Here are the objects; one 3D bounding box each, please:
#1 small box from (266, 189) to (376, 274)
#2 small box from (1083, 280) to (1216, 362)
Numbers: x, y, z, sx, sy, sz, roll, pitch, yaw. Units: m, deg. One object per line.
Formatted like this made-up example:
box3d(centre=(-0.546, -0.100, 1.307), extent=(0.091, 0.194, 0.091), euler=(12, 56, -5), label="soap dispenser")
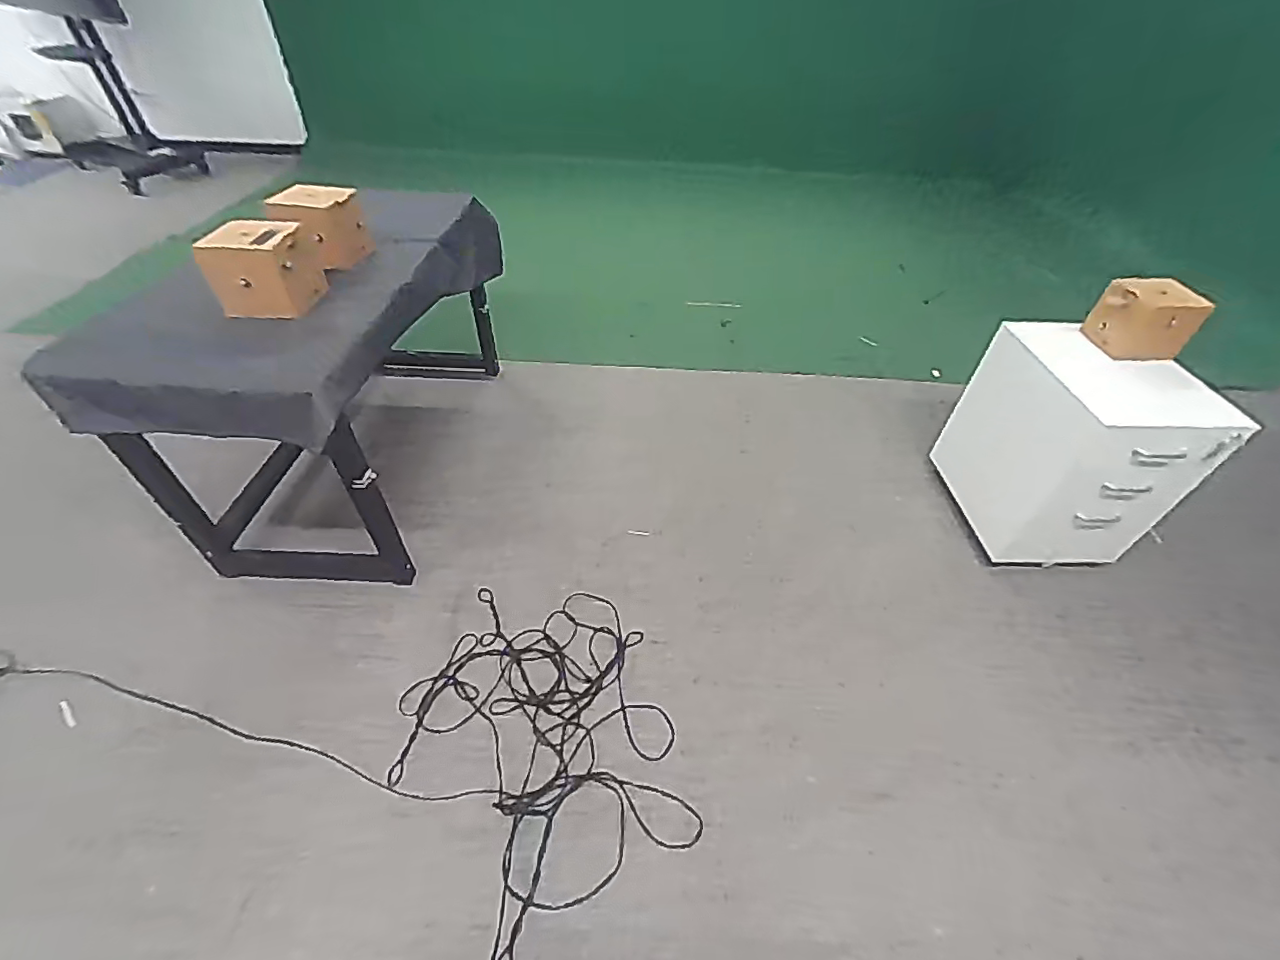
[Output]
box3d(centre=(-0.867, -0.683, 1.493), extent=(0.179, 0.176, 0.168), euler=(6, 43, 5), label="small box")
box3d(centre=(1.421, -0.445, 1.523), extent=(0.179, 0.176, 0.168), euler=(-1, 45, -2), label="small box")
